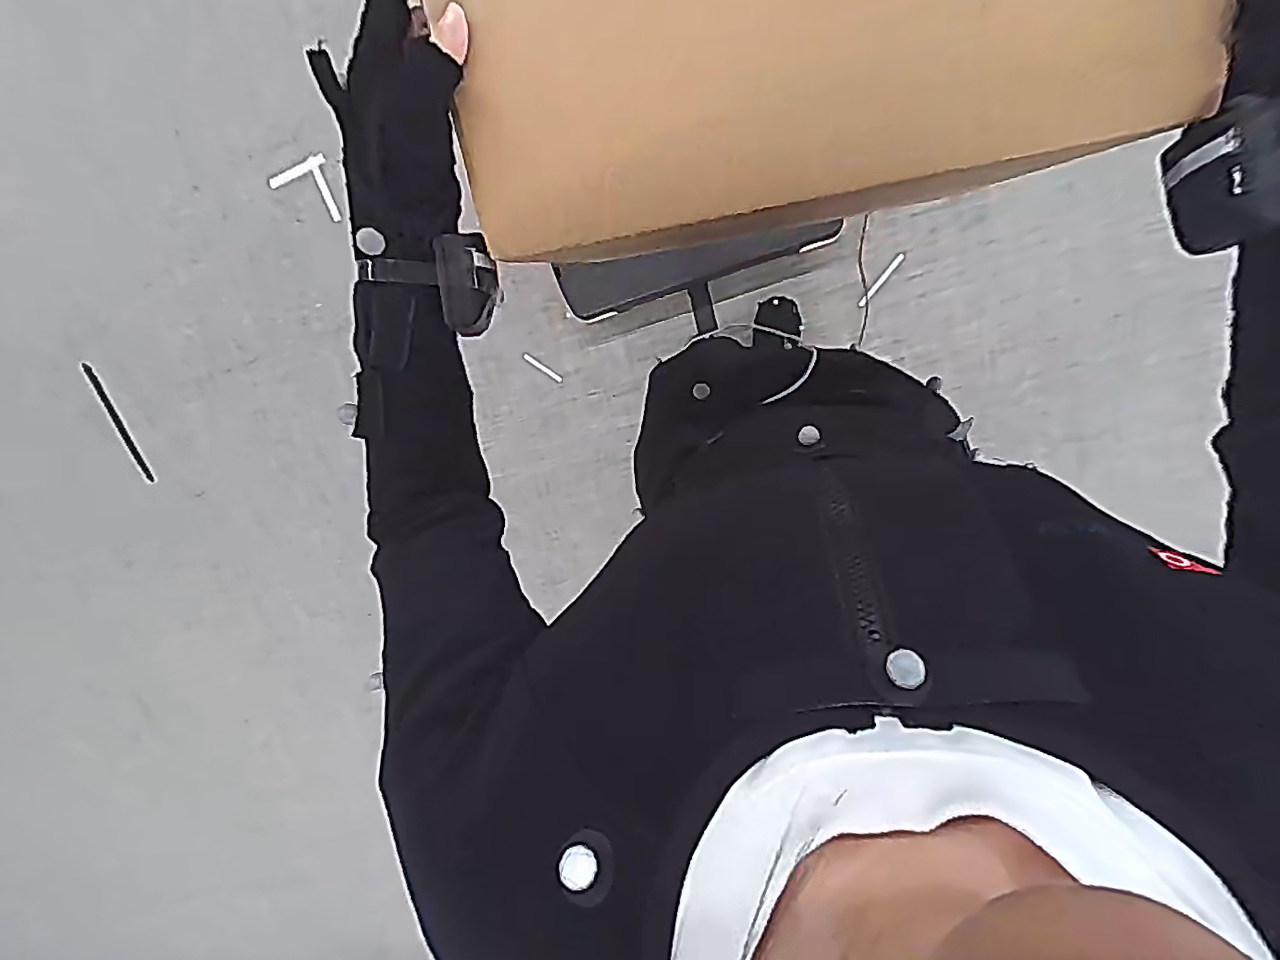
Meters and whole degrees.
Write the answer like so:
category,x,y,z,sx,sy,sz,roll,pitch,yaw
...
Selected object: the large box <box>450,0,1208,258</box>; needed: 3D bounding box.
category,x,y,z,sx,sy,sz,roll,pitch,yaw
large box,0.096,-0.373,0.414,0.408,0.320,0.320,-7,111,10
